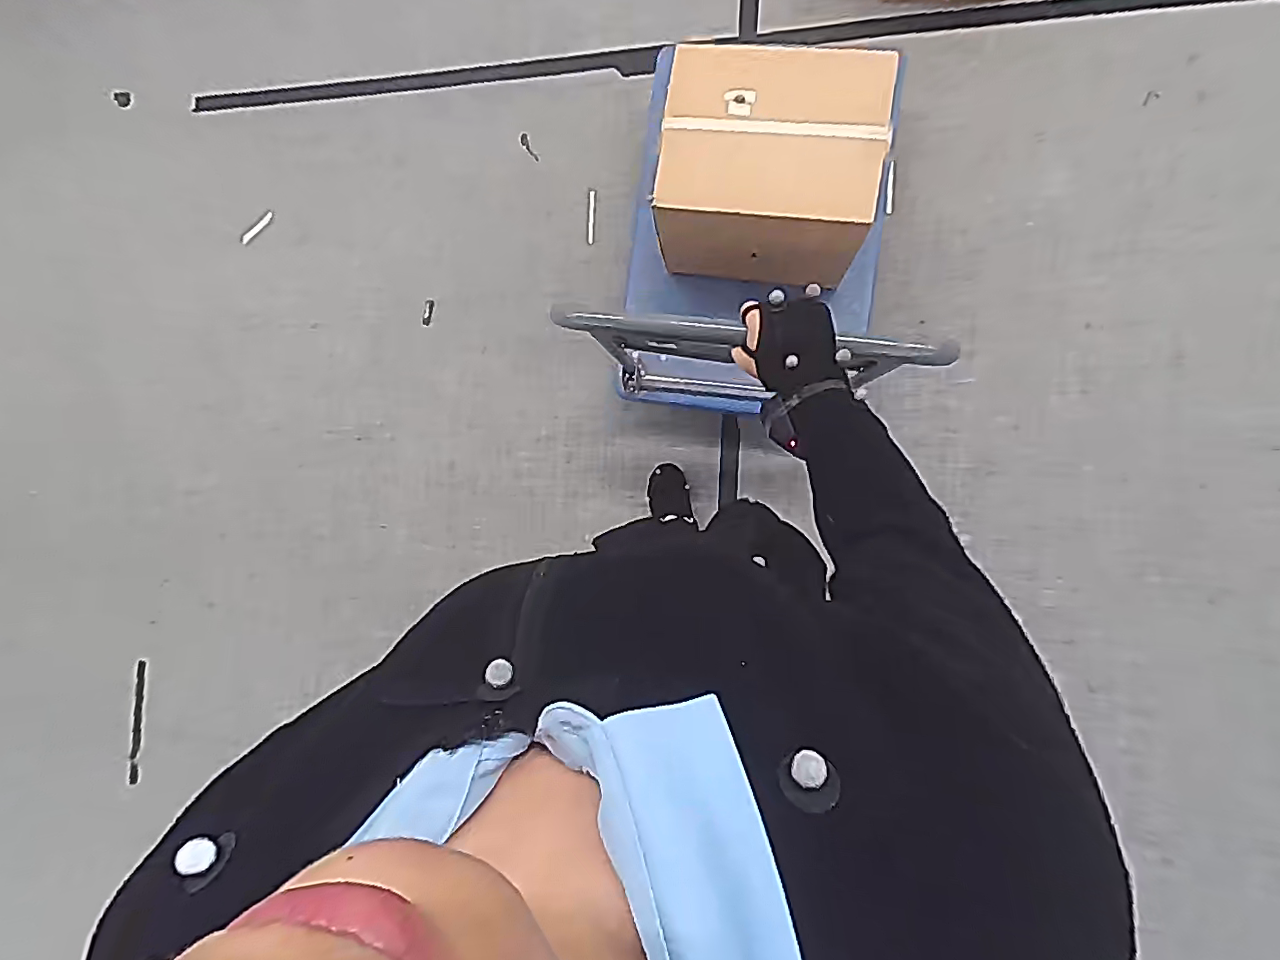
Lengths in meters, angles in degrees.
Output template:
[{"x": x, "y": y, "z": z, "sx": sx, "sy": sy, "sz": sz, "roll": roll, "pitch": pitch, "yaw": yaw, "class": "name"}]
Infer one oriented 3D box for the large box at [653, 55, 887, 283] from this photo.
[{"x": 0.262, "y": -0.636, "z": 1.154, "sx": 0.408, "sy": 0.320, "sz": 0.320, "roll": 8, "pitch": 89, "yaw": 10, "class": "large box"}]
